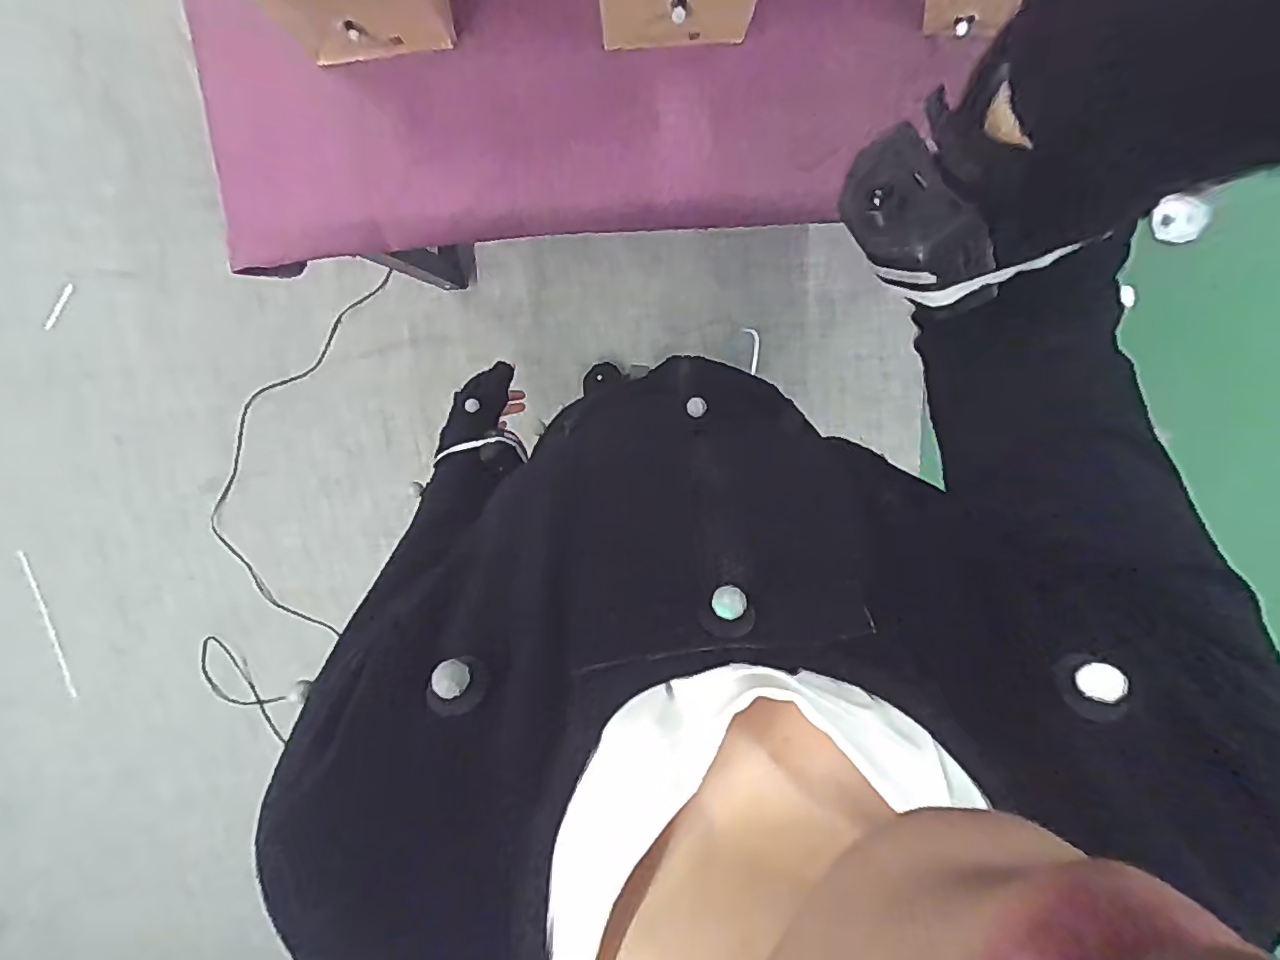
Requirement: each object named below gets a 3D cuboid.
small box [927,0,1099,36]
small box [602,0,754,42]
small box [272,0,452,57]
[{"bbox_3d":[0.413,-0.585,0.536,0.168,0.176,0.179,2,102,-1],"label":"small box"},{"bbox_3d":[0.035,-0.574,0.534,0.168,0.176,0.179,-6,102,2],"label":"small box"},{"bbox_3d":[-0.302,-0.564,0.528,0.168,0.176,0.179,-8,103,0],"label":"small box"}]
